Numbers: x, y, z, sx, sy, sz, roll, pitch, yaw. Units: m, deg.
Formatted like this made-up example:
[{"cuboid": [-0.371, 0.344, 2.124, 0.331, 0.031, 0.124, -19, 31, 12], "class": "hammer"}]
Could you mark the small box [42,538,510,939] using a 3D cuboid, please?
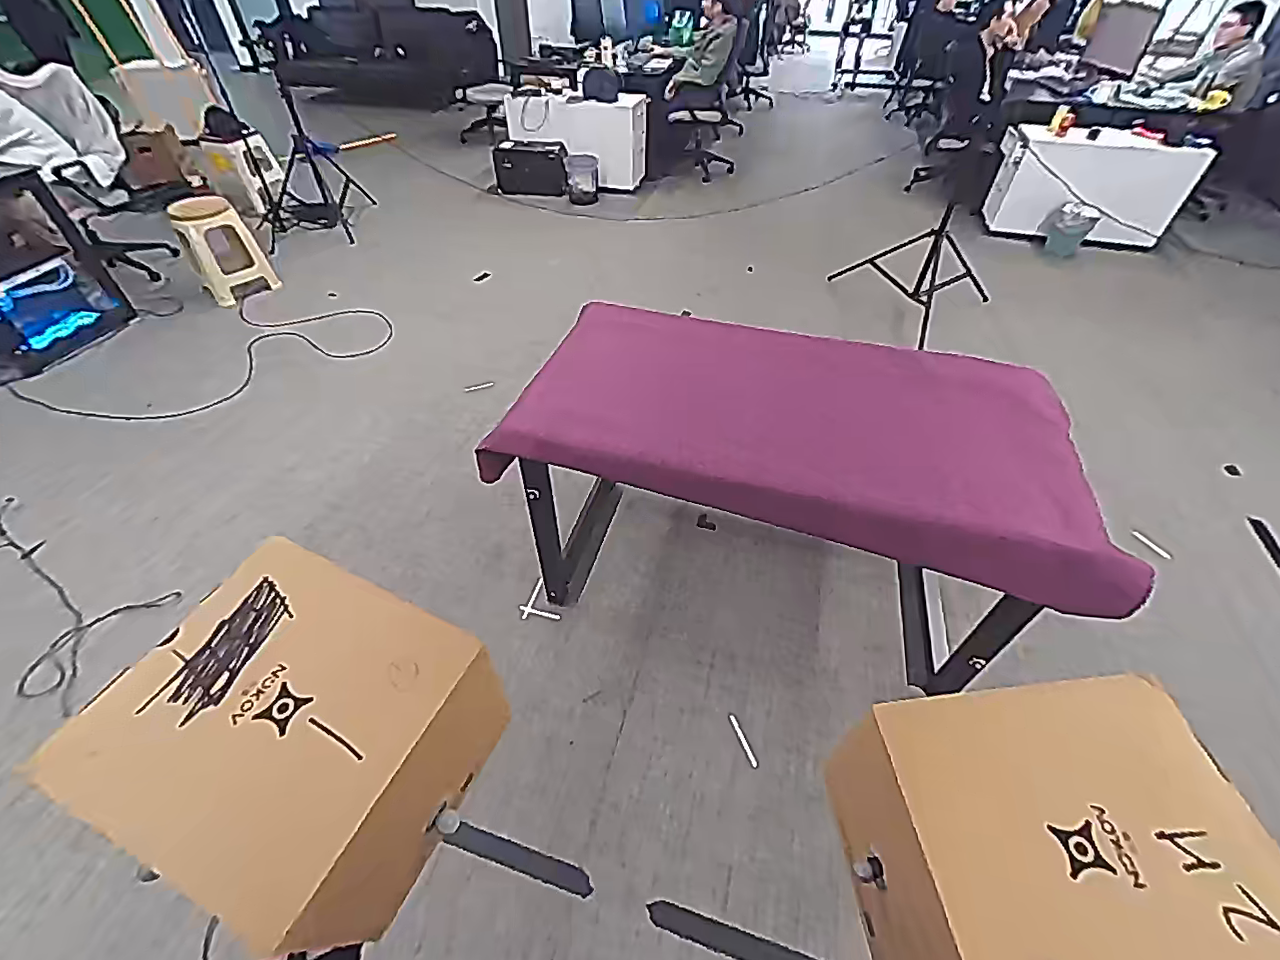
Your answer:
[{"cuboid": [-0.211, 0.176, 0.374, 0.179, 0.176, 0.168, 23, 53, 11], "class": "small box"}]

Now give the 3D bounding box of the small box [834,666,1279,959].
[{"cuboid": [0.237, 0.236, 0.341, 0.179, 0.176, 0.168, -7, 51, -1], "class": "small box"}]
